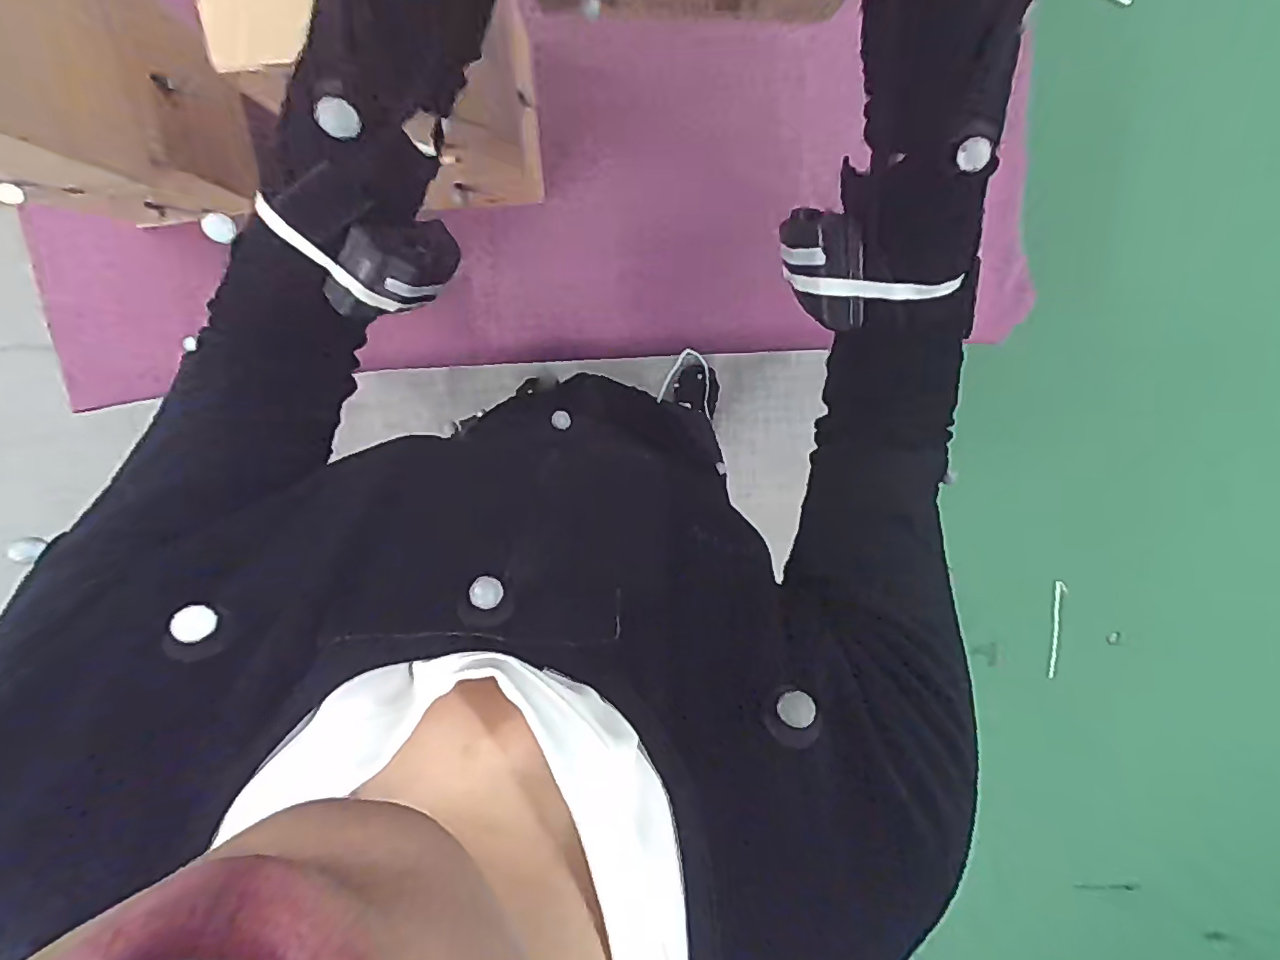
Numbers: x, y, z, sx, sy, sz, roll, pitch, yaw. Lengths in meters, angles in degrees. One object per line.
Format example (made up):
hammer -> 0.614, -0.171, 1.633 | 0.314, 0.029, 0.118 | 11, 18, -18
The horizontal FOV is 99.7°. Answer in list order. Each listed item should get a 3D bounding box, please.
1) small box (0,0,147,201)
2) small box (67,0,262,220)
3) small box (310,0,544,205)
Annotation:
small box -> -0.534, -0.329, 0.400 | 0.168, 0.176, 0.179 | -6, 104, 0
small box -> -0.540, -0.388, 0.555 | 0.168, 0.176, 0.179 | -8, 104, 0
small box -> -0.203, -0.402, 0.562 | 0.168, 0.176, 0.179 | -6, 102, 1
